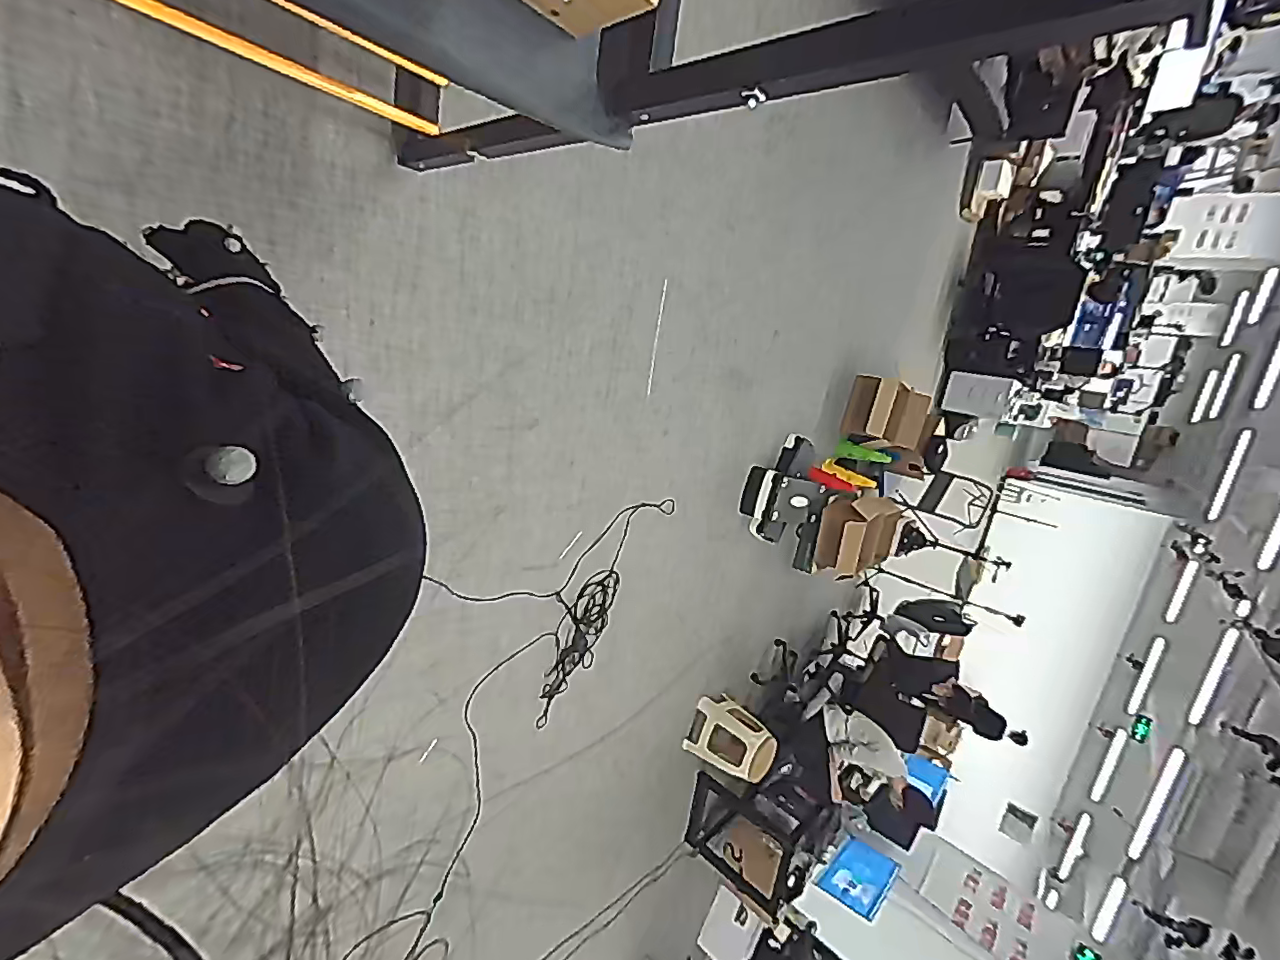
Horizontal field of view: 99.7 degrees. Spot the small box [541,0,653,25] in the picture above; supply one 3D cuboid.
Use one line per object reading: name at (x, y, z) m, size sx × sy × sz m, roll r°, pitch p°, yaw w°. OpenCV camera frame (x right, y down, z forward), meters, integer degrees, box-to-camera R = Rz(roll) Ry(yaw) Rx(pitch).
small box at (-0.079, -0.738, 0.695) m, size 0.168 × 0.176 × 0.179 m, roll -6°, pitch 110°, yaw -49°
